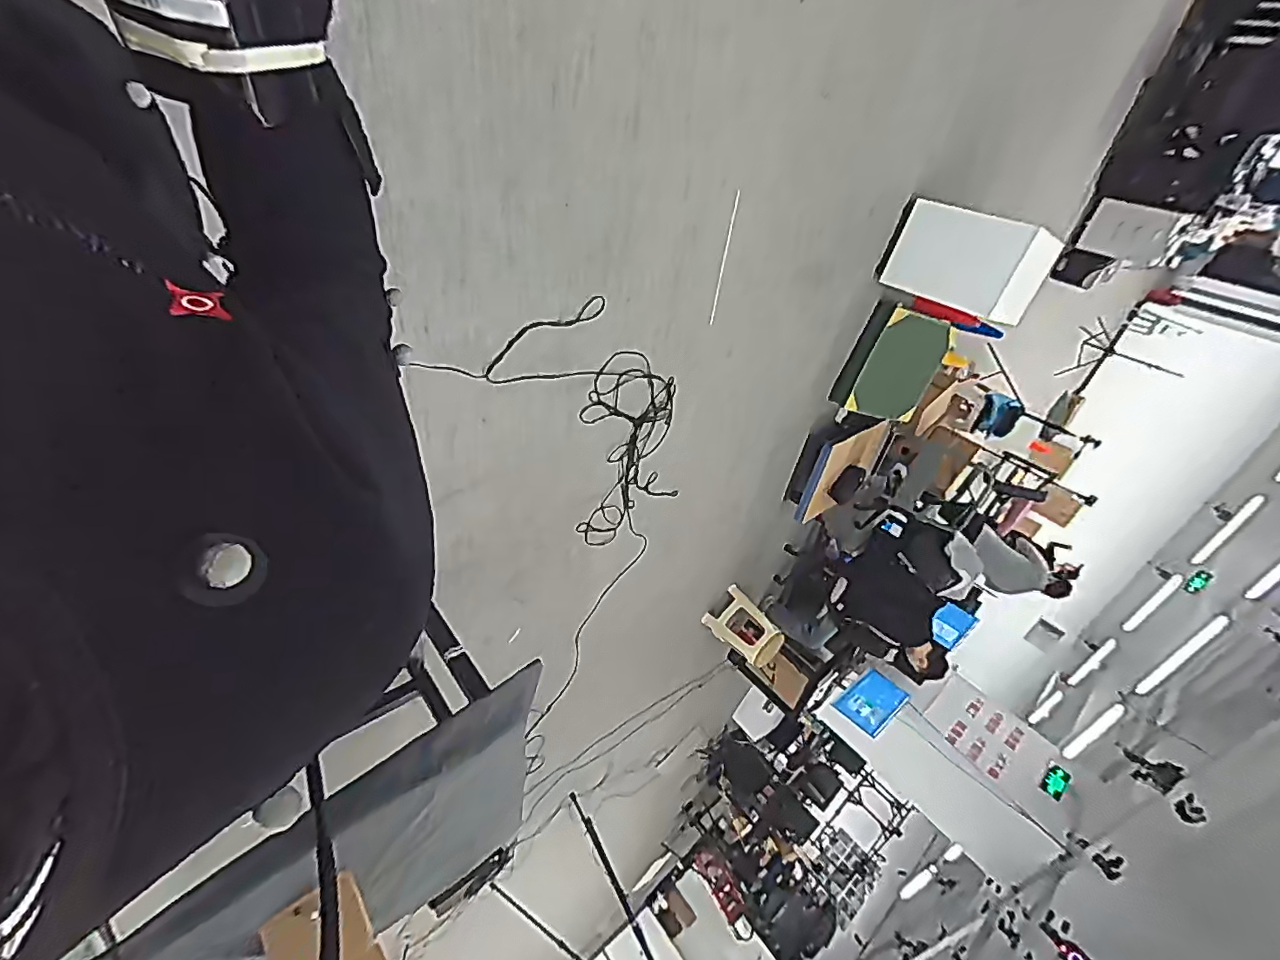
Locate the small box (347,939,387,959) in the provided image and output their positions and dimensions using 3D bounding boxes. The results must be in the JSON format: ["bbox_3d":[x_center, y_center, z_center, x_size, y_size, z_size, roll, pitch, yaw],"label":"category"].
[{"bbox_3d":[-0.551,1.040,1.026,0.179,0.176,0.168,-23,138,-36],"label":"small box"}]

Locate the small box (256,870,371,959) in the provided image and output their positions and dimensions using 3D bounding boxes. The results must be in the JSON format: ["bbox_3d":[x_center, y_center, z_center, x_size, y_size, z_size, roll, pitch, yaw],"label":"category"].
[{"bbox_3d":[-0.660,0.958,1.113,0.168,0.176,0.179,-21,136,-37],"label":"small box"}]
